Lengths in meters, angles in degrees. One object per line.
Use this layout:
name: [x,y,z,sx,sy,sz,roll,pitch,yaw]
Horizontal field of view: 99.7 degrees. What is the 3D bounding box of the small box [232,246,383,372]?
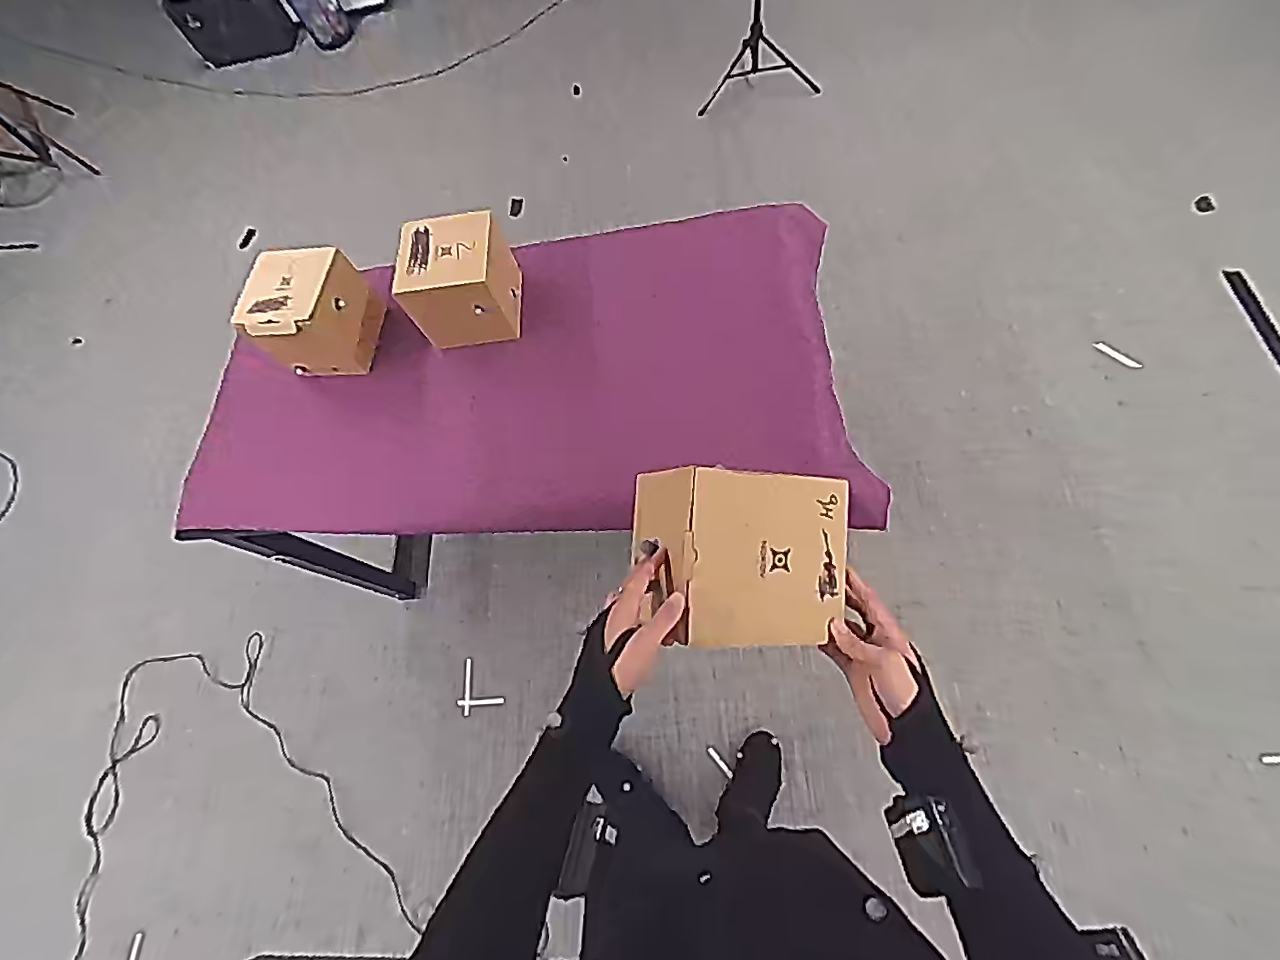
small box: [-0.635,-0.325,1.059,0.168,0.176,0.179,0,68,9]
